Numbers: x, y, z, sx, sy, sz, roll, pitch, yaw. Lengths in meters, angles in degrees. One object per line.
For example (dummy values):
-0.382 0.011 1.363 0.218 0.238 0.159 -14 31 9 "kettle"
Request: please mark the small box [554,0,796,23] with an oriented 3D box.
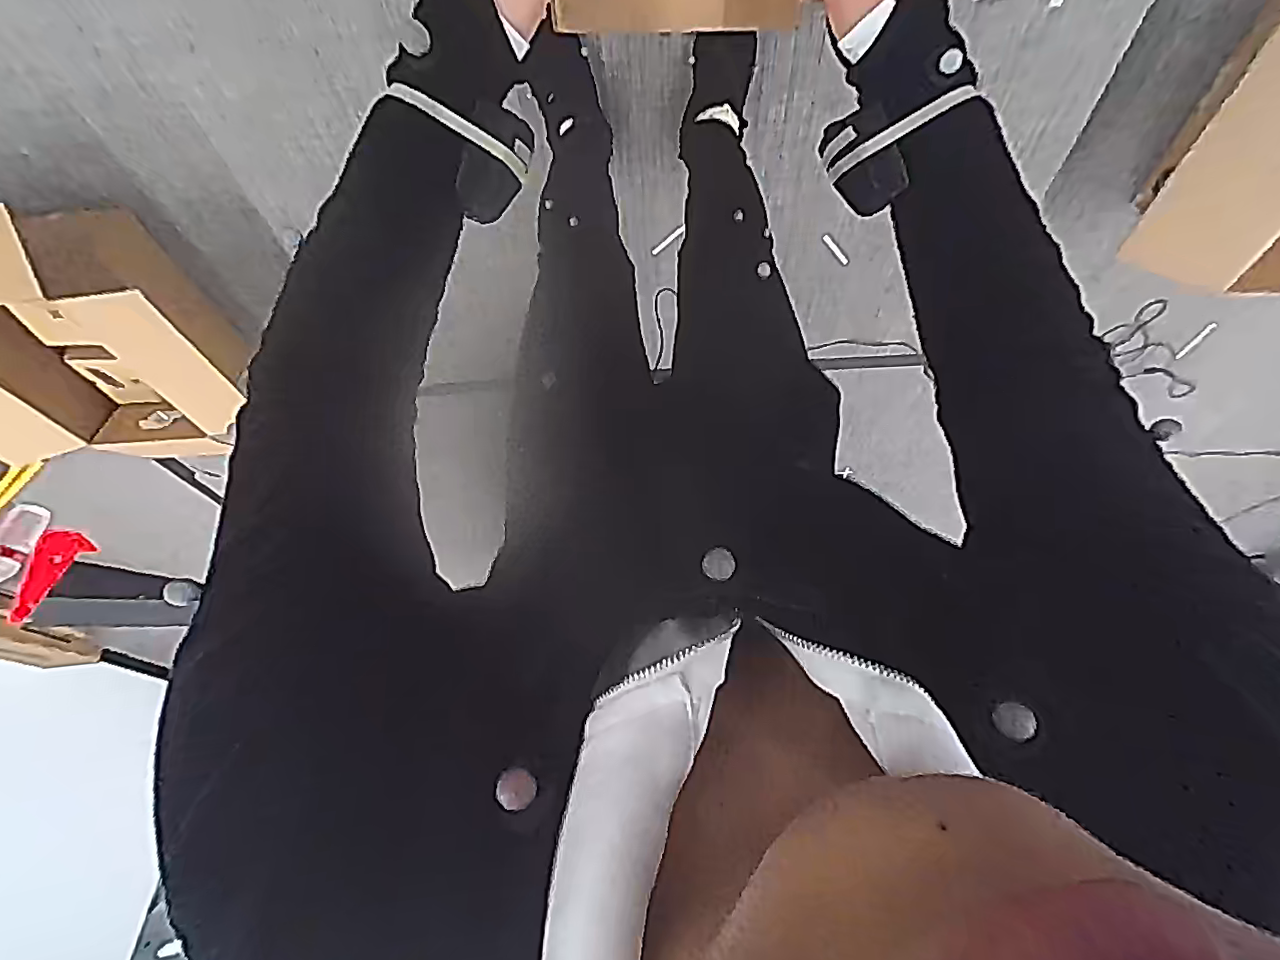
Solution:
0.021 -0.446 0.370 0.179 0.176 0.168 -4 148 -2 "small box"
